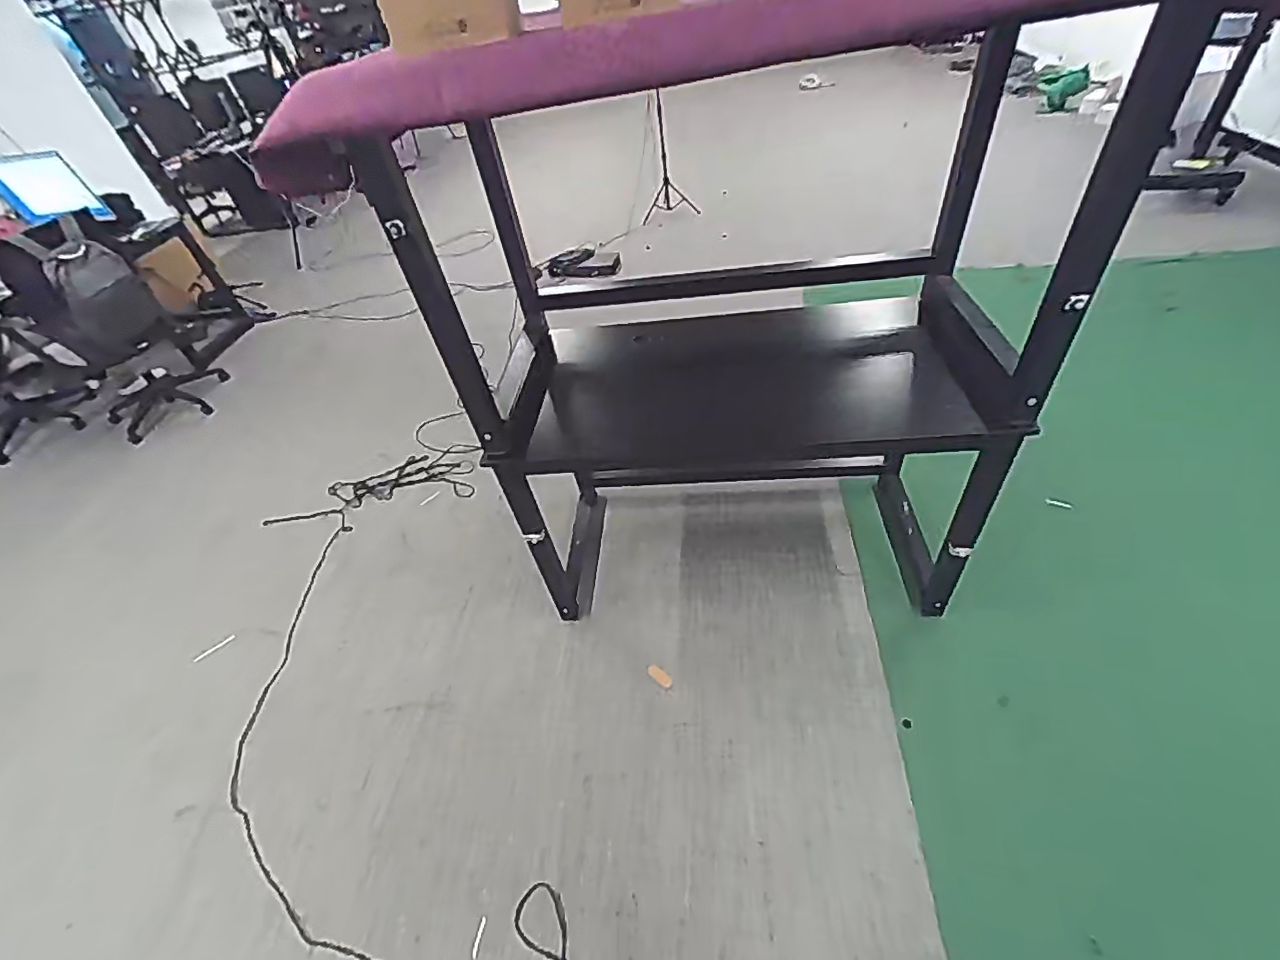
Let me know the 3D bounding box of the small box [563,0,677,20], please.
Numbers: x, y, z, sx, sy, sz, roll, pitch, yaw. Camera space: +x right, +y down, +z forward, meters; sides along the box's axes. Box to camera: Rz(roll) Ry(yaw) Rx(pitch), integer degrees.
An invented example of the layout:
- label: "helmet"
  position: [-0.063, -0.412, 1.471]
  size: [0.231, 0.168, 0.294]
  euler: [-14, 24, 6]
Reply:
- label: "small box"
  position: [-0.032, -0.750, 0.737]
  size: [0.168, 0.176, 0.179]
  euler: [-5, 44, 5]

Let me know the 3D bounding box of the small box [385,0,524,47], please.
- label: "small box"
  position: [-0.271, -0.732, 0.763]
  size: [0.168, 0.176, 0.179]
  euler: [-6, 43, 3]
